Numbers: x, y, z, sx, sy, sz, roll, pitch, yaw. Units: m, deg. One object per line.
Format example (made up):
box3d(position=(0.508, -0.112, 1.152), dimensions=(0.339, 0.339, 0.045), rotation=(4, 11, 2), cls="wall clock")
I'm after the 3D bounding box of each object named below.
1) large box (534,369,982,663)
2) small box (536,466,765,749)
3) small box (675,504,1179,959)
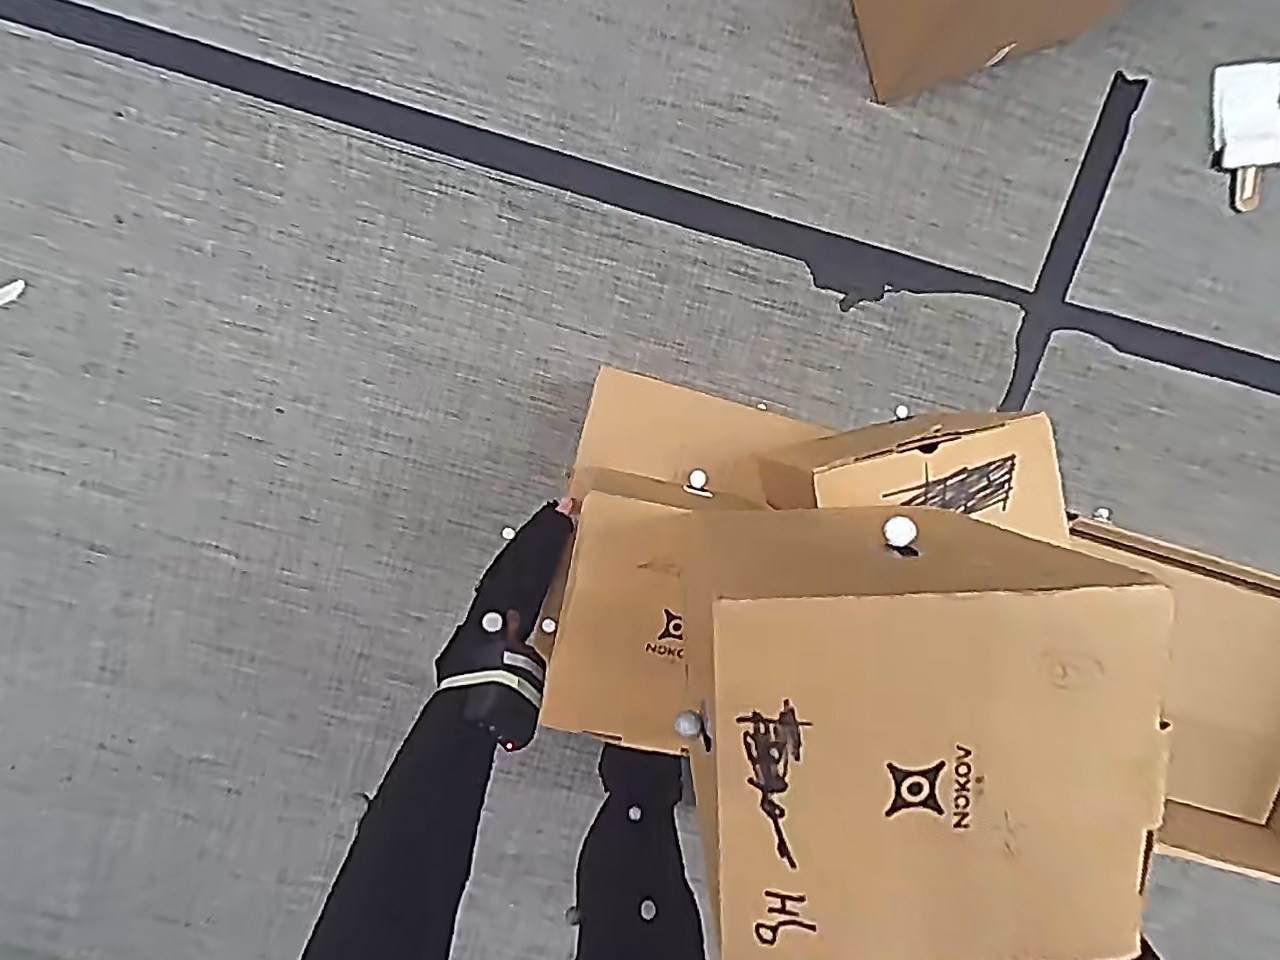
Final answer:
box3d(position=(0.111, 0.064, 0.694), dimensions=(0.408, 0.320, 0.320), rotation=(14, 98, -3), cls="large box")
box3d(position=(0.020, 0.092, 0.452), dimensions=(0.168, 0.176, 0.179), rotation=(10, 96, -3), cls="small box")
box3d(position=(0.114, 0.108, 0.289), dimensions=(0.179, 0.176, 0.168), rotation=(-2, 97, 0), cls="small box")
